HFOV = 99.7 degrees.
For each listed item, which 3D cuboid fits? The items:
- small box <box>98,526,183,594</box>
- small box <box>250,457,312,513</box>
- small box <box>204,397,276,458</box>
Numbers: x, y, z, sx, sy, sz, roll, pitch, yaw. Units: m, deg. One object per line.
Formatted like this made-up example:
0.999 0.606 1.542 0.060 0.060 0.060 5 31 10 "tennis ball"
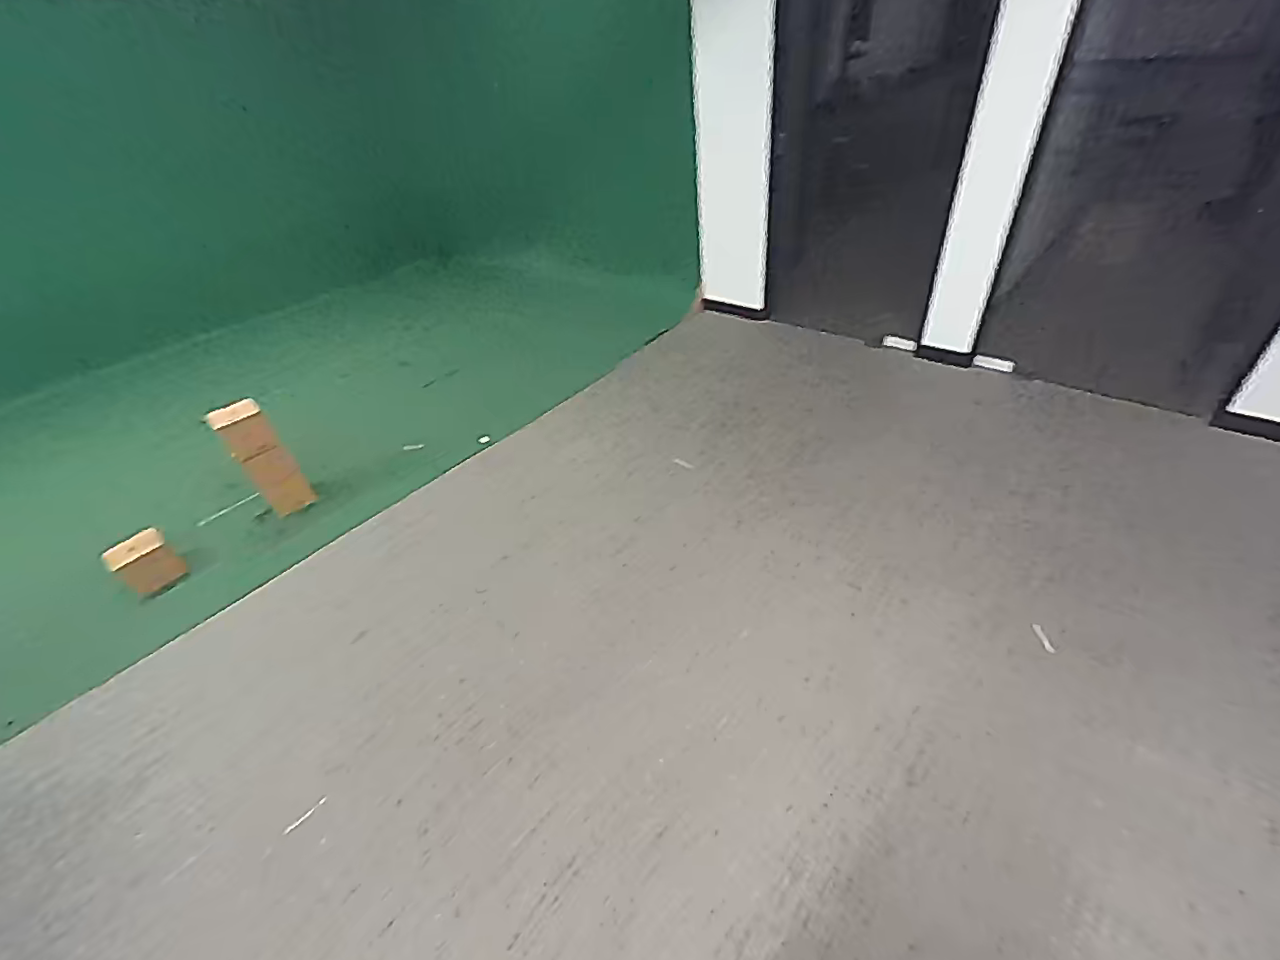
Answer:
-1.985 0.322 2.154 0.168 0.176 0.179 26 50 33 "small box"
-1.627 0.028 2.457 0.168 0.176 0.179 -32 46 -27 "small box"
-1.654 -0.215 2.238 0.168 0.176 0.179 -35 46 -31 "small box"
